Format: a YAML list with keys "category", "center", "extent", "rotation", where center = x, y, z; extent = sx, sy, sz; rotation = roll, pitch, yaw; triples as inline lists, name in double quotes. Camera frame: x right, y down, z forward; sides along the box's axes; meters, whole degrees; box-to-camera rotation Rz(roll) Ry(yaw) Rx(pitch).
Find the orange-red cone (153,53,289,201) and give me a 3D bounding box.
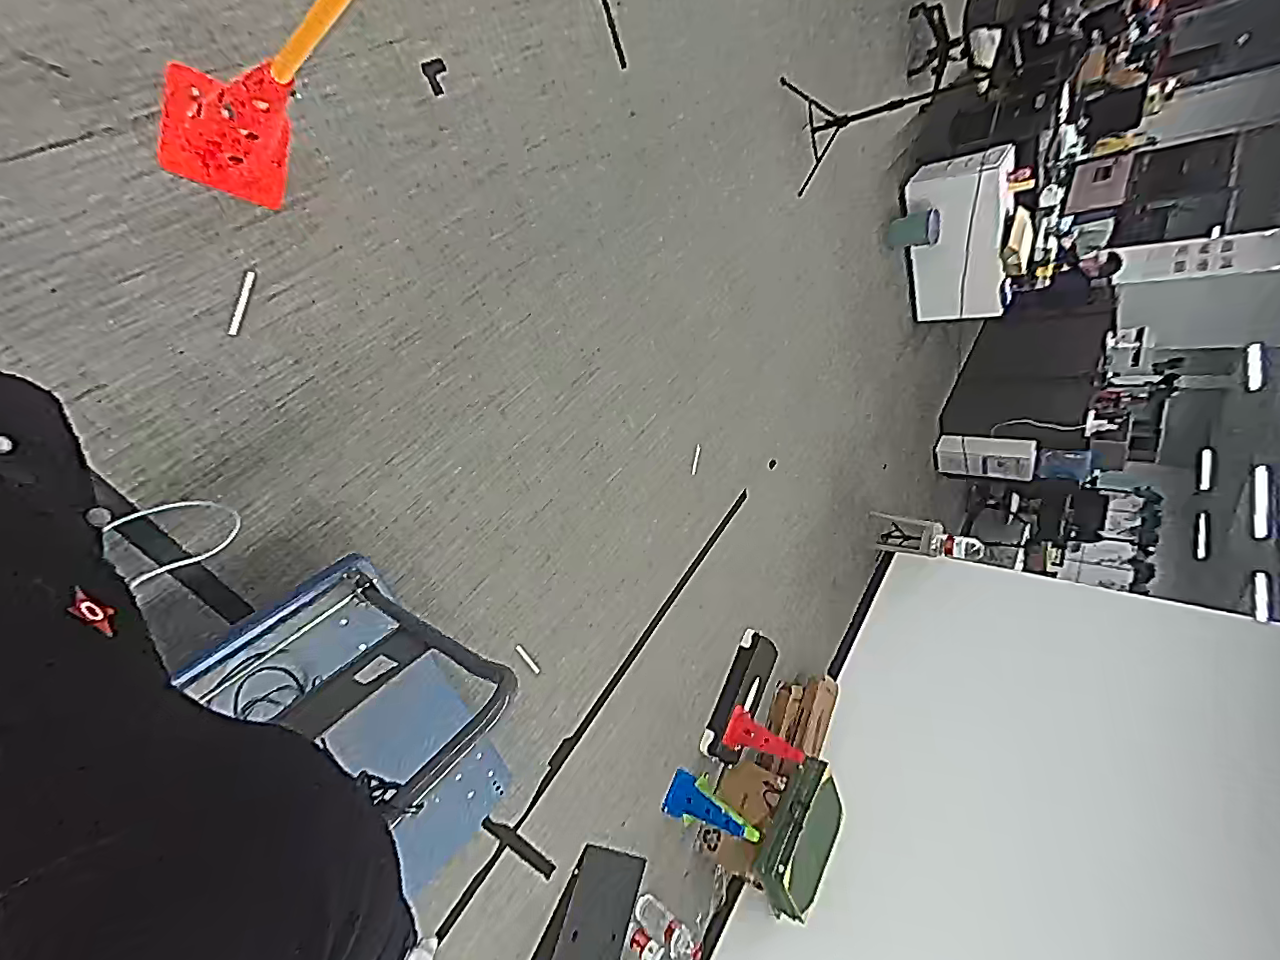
- category: "orange-red cone"
  center: [-0.682, -0.651, 0.938]
  extent: [0.198, 0.360, 0.199]
  rotation: [7, 93, -48]
